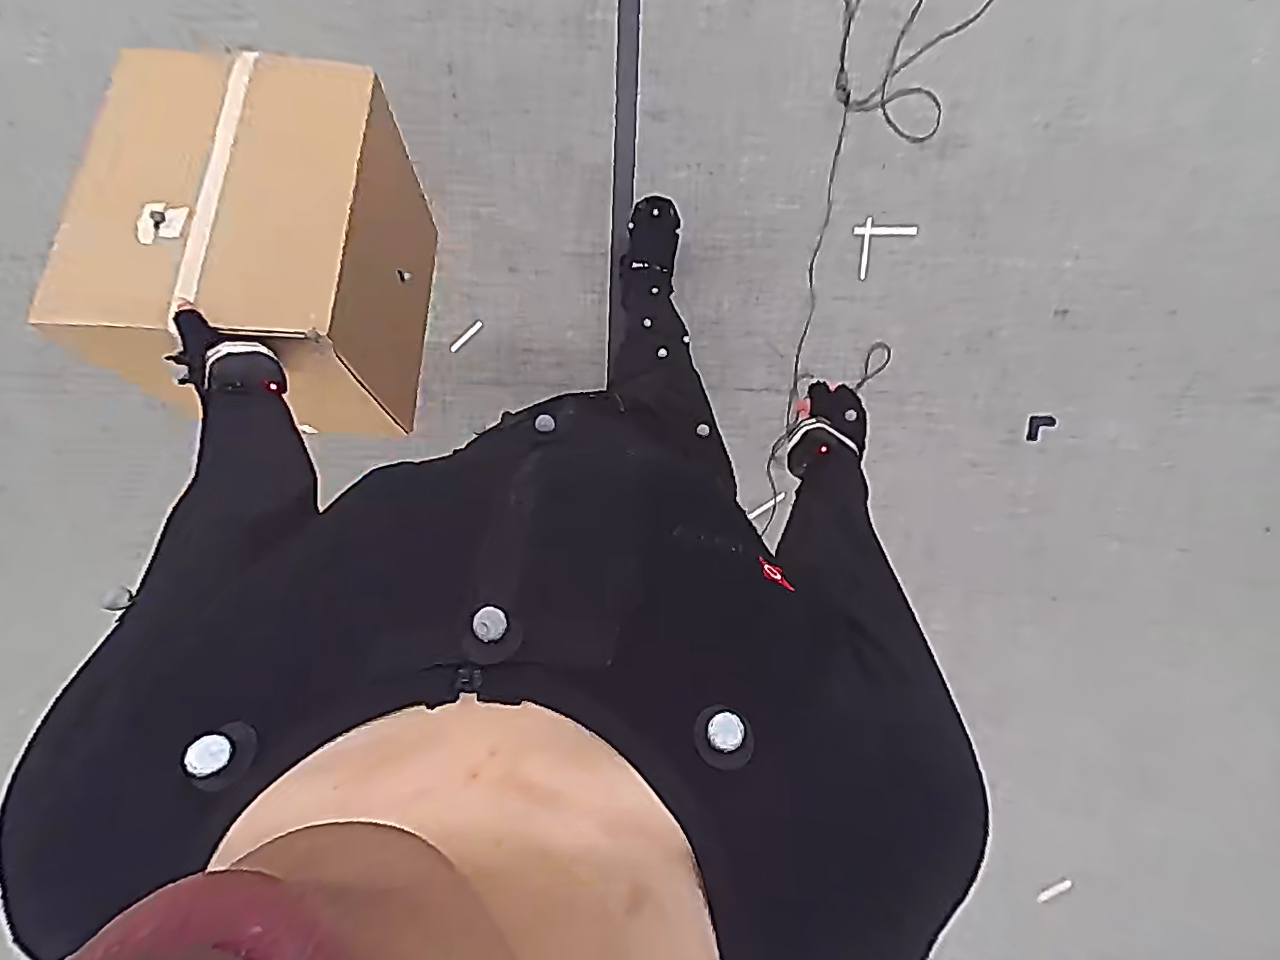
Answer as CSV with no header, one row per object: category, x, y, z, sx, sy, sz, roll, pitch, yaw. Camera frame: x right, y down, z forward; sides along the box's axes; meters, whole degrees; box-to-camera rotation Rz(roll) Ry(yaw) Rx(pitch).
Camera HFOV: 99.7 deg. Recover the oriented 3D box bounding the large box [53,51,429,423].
large box,-0.526,-0.328,0.811,0.320,0.320,0.408,1,76,-4
